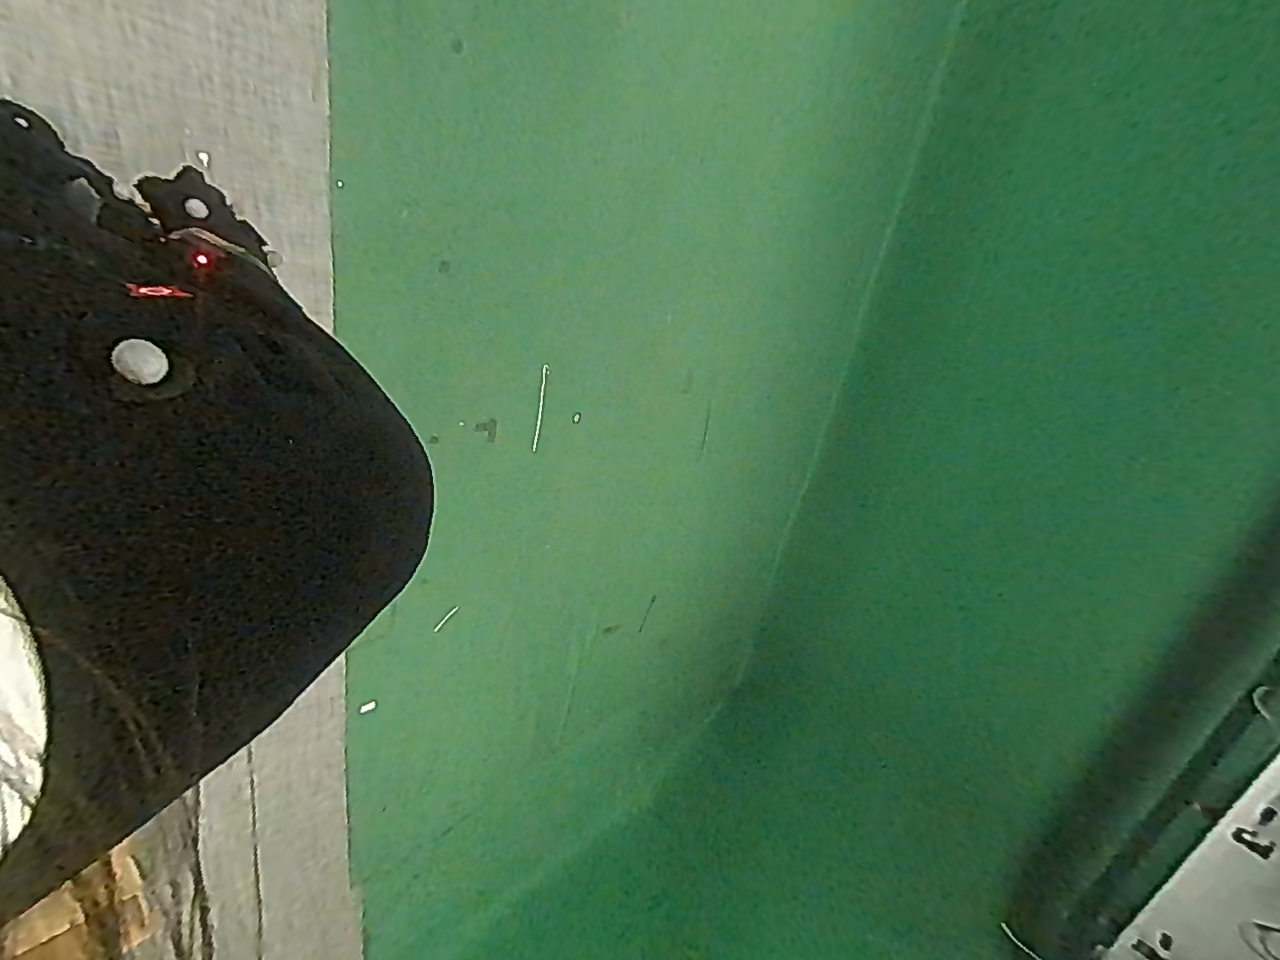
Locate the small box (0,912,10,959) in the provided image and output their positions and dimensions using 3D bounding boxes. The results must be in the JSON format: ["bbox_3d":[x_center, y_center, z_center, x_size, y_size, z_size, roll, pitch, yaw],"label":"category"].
[{"bbox_3d":[-1.482,1.015,1.138,0.179,0.176,0.168,-17,127,-45],"label":"small box"}]
